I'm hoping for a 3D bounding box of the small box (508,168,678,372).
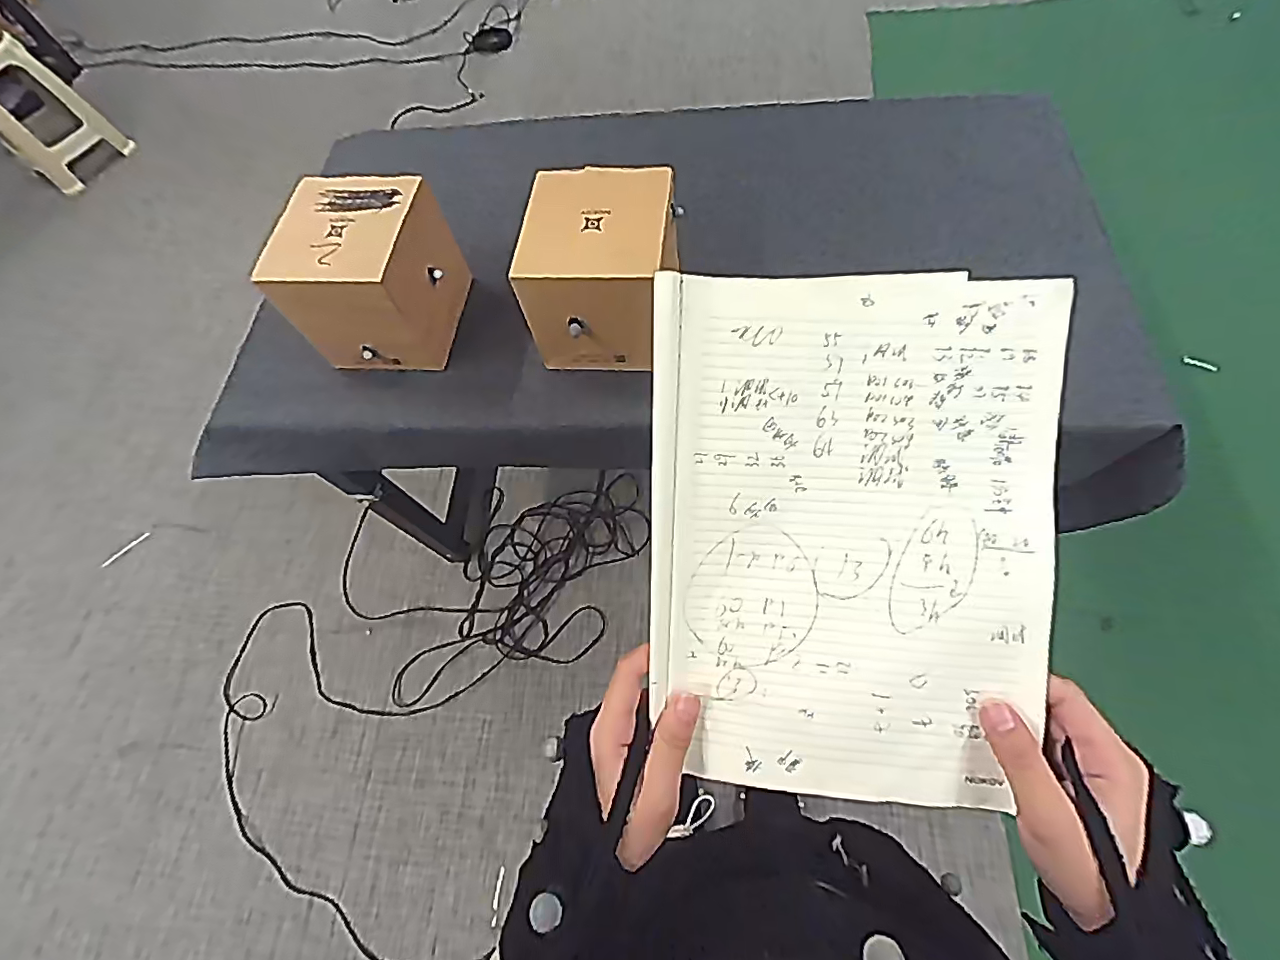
[{"bbox_3d":[-0.043,-0.250,0.670,0.168,0.176,0.179,3,64,8],"label":"small box"}]
